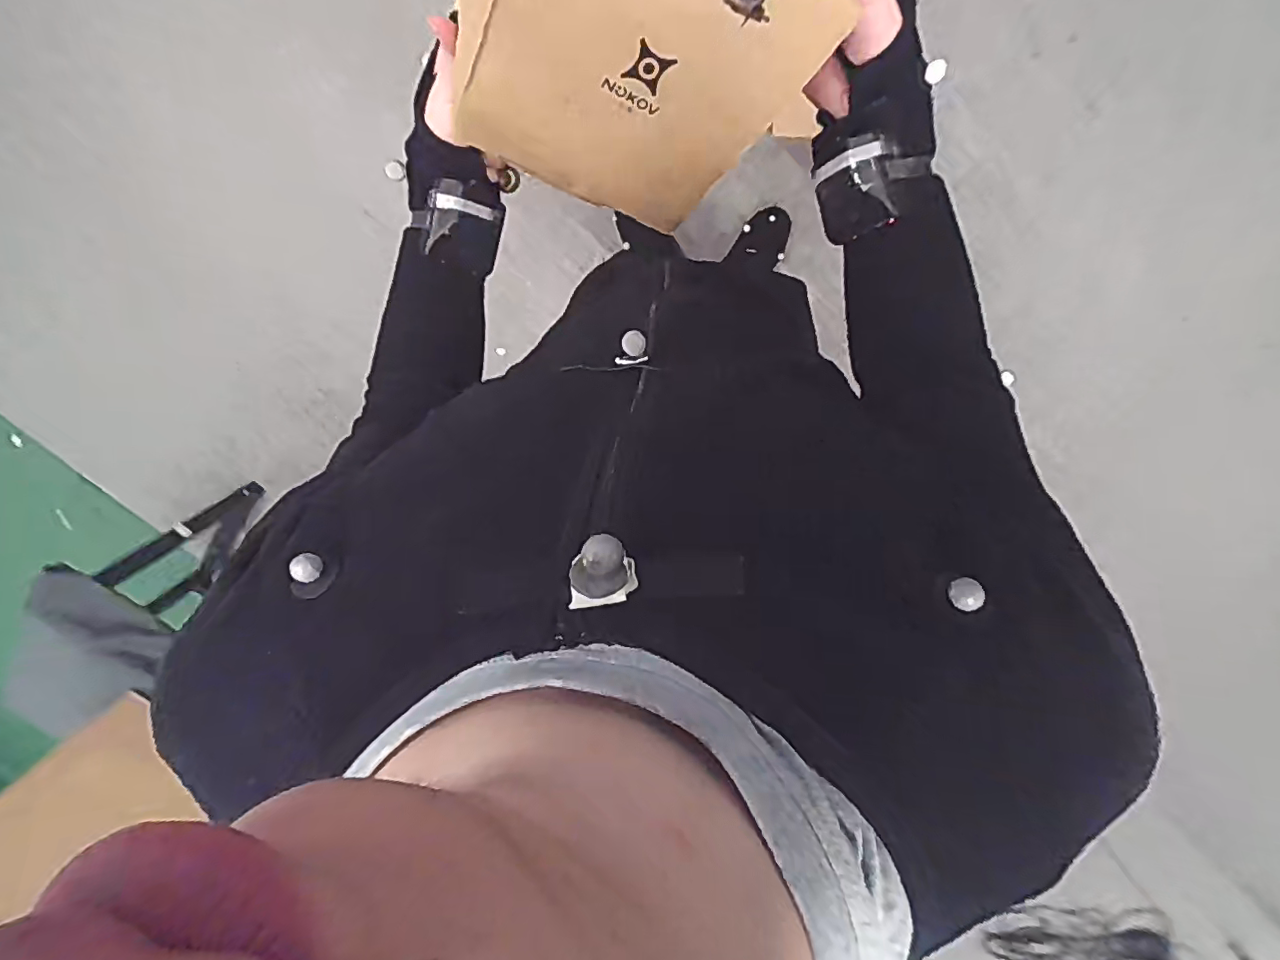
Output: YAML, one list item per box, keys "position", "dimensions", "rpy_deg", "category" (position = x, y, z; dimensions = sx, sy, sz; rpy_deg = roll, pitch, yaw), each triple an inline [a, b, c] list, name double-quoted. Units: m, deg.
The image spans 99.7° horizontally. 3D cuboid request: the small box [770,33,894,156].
- position: [0.339, -0.698, 0.993]
  dimensions: [0.179, 0.176, 0.168]
  rpy_deg: [8, 119, 10]
  category: "small box"
